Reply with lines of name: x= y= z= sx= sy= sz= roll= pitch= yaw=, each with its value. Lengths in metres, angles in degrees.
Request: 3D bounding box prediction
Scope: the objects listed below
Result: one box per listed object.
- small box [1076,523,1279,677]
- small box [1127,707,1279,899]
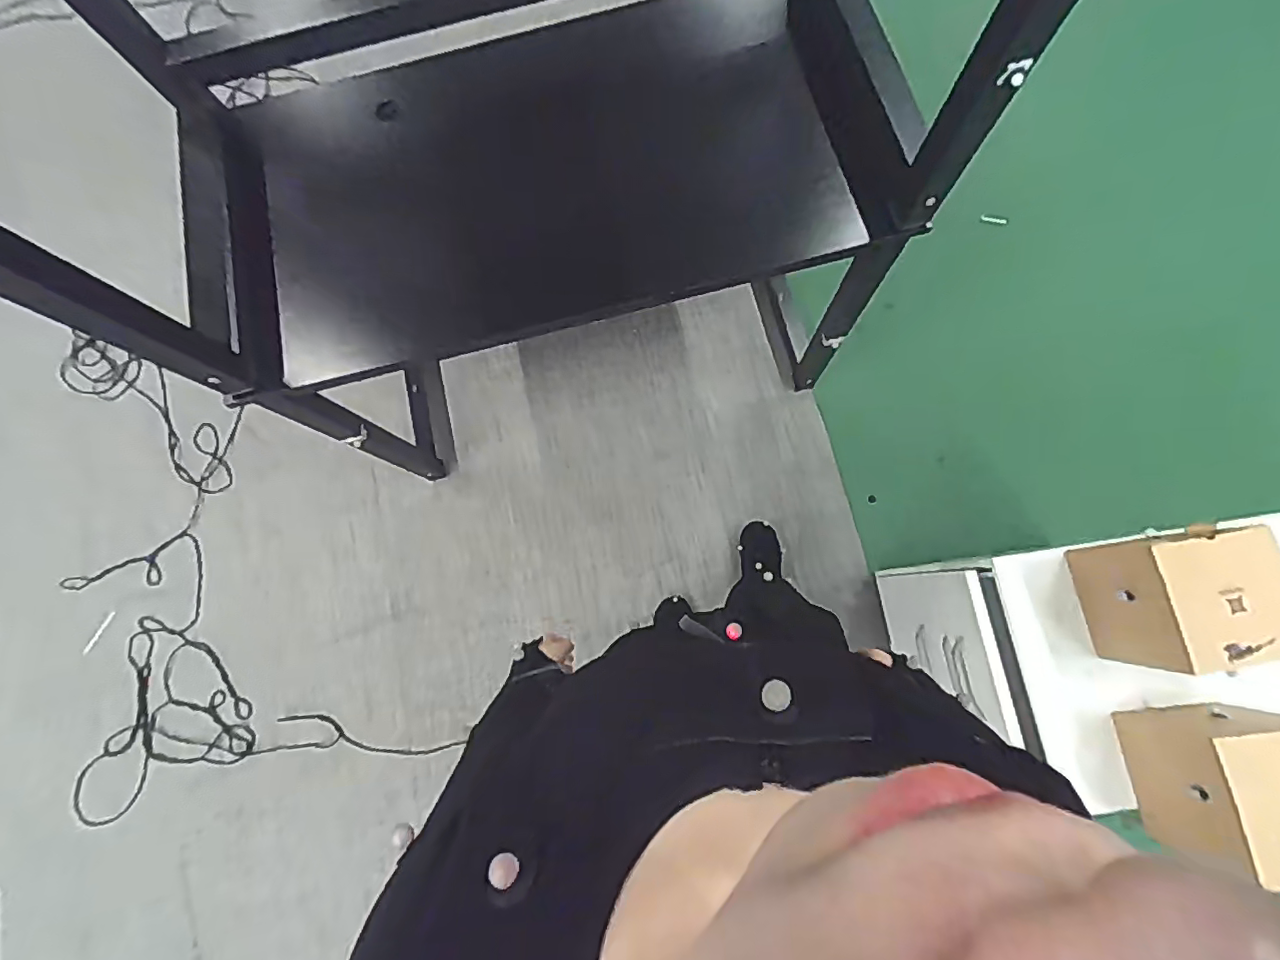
small box: x=0.783 y=0.169 z=0.776 sx=0.168 sy=0.176 sz=0.179 roll=-11 pitch=78 yaw=2
small box: x=0.813 y=0.411 z=0.720 sx=0.168 sy=0.176 sz=0.179 roll=-8 pitch=78 yaw=3
